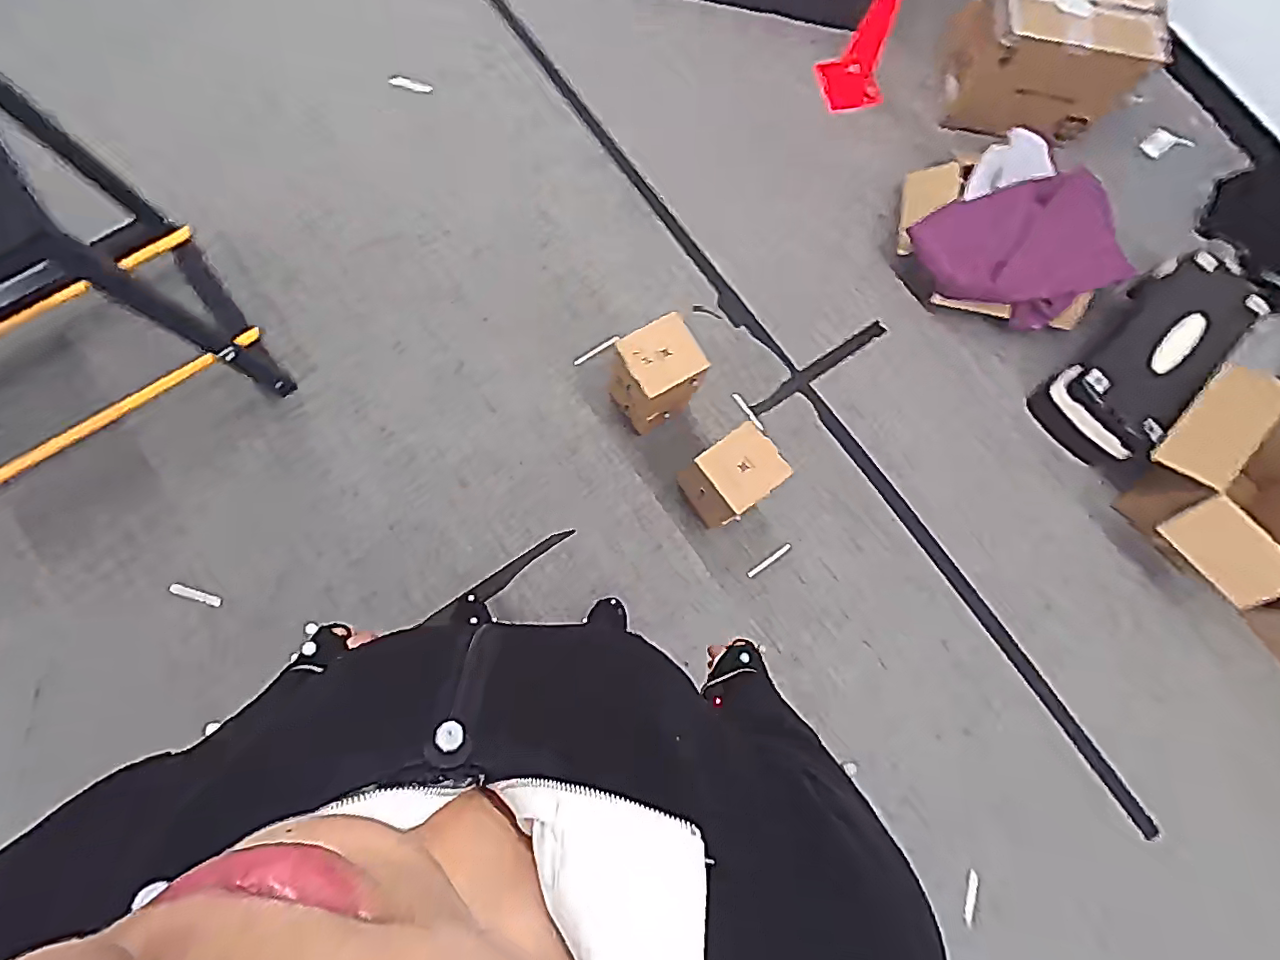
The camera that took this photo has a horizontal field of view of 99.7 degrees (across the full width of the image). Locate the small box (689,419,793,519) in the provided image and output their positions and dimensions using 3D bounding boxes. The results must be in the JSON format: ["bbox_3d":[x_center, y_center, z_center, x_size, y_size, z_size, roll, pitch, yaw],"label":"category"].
[{"bbox_3d":[0.241,-0.021,1.341,0.179,0.176,0.168,-37,83,-8],"label":"small box"}]

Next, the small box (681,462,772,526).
[{"bbox_3d":[0.231,0.012,1.500,0.168,0.176,0.179,-32,85,-9],"label":"small box"}]

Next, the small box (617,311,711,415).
[{"bbox_3d":[0.052,-0.289,1.370,0.179,0.176,0.168,-30,83,-8],"label":"small box"}]

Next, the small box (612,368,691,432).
[{"bbox_3d":[0.037,-0.259,1.532,0.179,0.176,0.168,-35,84,-9],"label":"small box"}]
